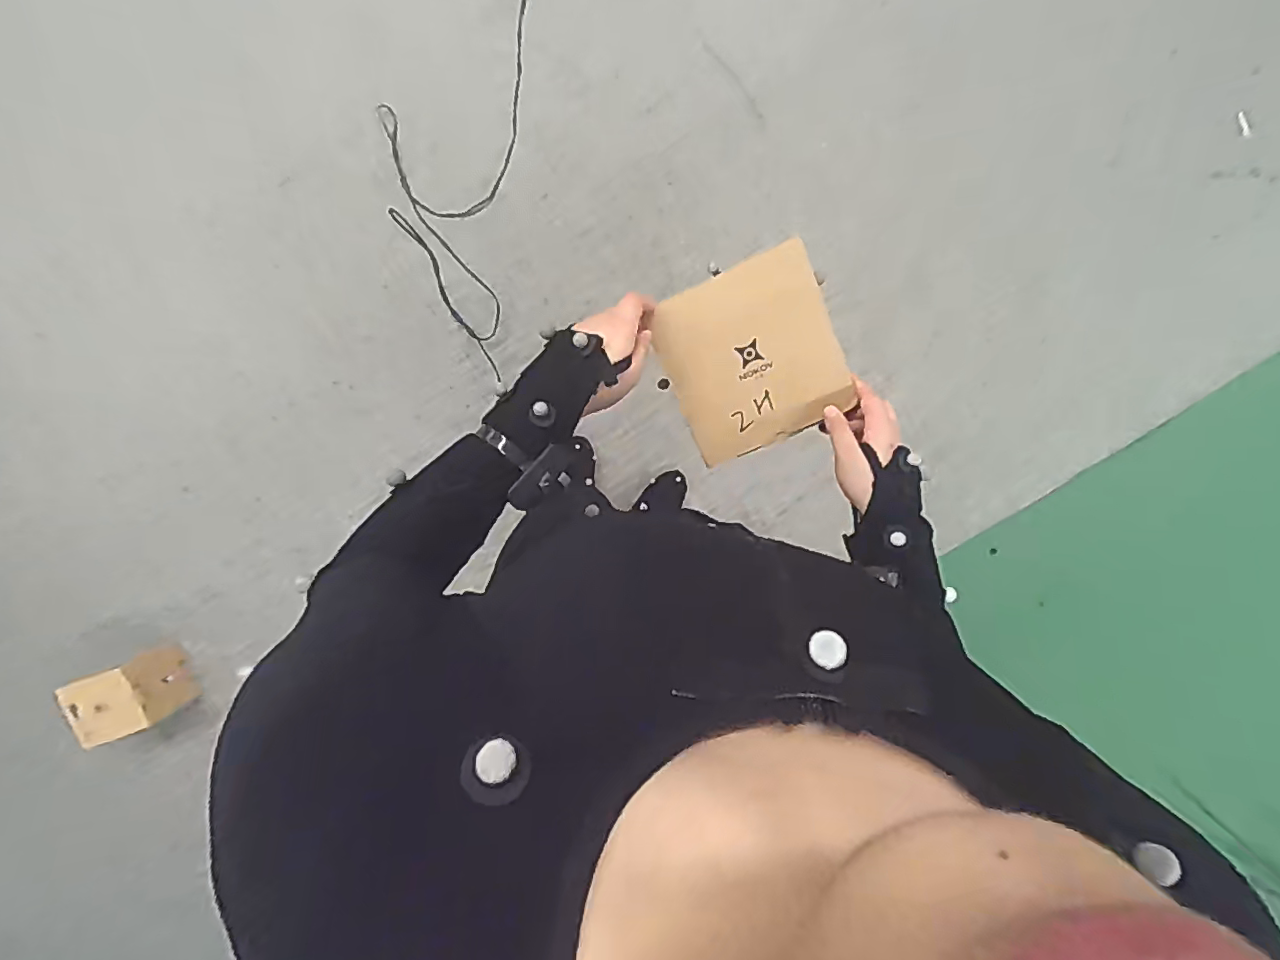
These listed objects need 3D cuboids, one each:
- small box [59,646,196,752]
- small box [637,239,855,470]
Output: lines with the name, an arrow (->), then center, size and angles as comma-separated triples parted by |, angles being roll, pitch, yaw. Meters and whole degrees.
small box -> -1.296, 0.553, 1.388 | 0.179, 0.176, 0.168 | -19, 96, -1
small box -> 0.110, -0.139, 0.601 | 0.168, 0.176, 0.179 | -23, 106, 13
